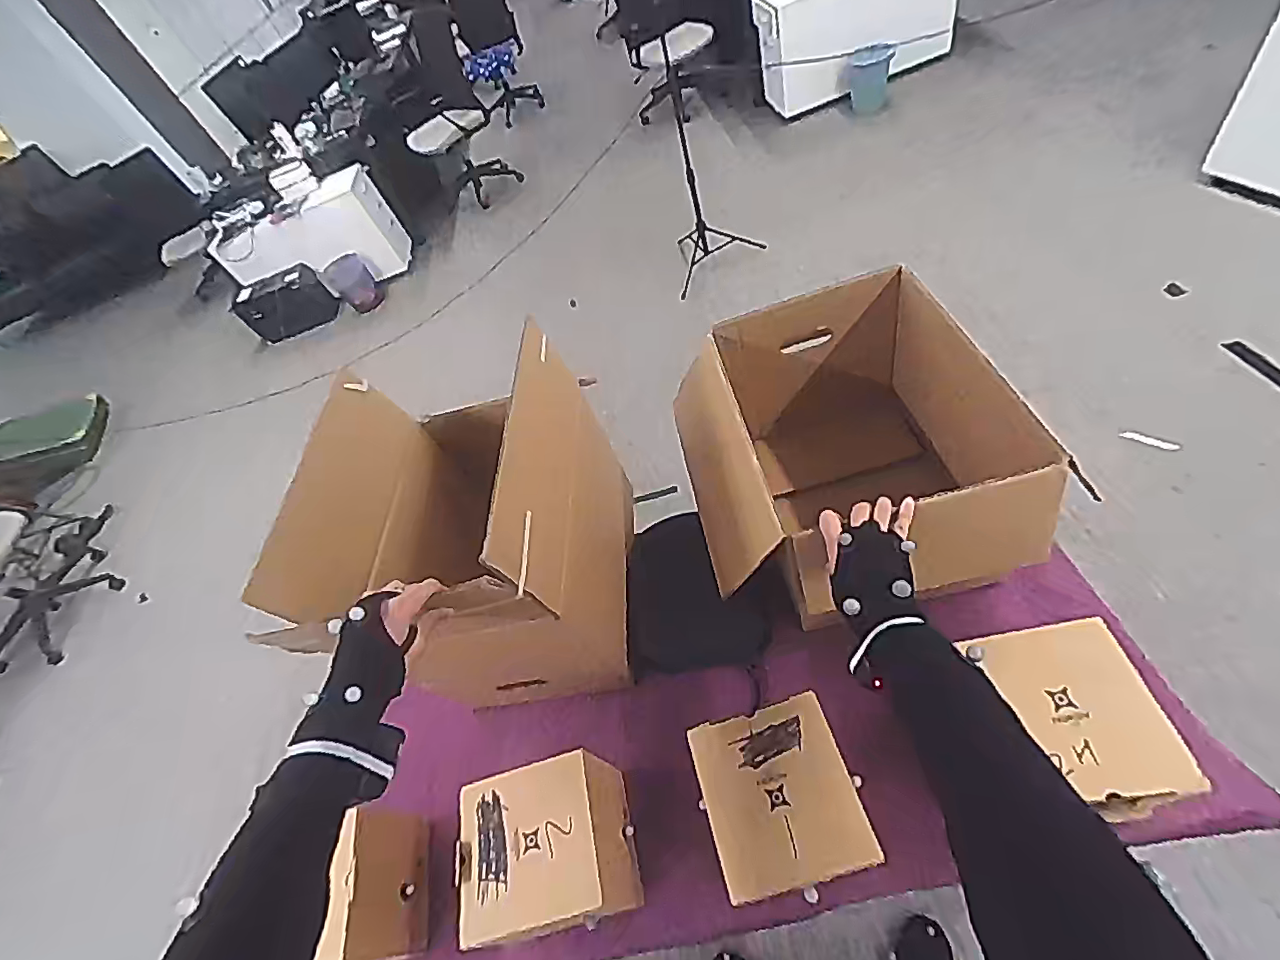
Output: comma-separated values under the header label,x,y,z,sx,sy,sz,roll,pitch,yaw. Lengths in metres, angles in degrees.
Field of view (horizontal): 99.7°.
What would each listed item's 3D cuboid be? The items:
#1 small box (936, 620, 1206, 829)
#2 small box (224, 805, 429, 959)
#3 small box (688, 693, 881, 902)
label,x,y,z,sx,sy,sz,roll,pitch,yaw
small box,0.468,0.289,0.630,0.168,0.176,0.179,-15,50,11
small box,-0.421,0.578,0.751,0.179,0.176,0.168,-20,50,4
small box,0.173,0.392,0.665,0.168,0.176,0.179,-20,51,6
